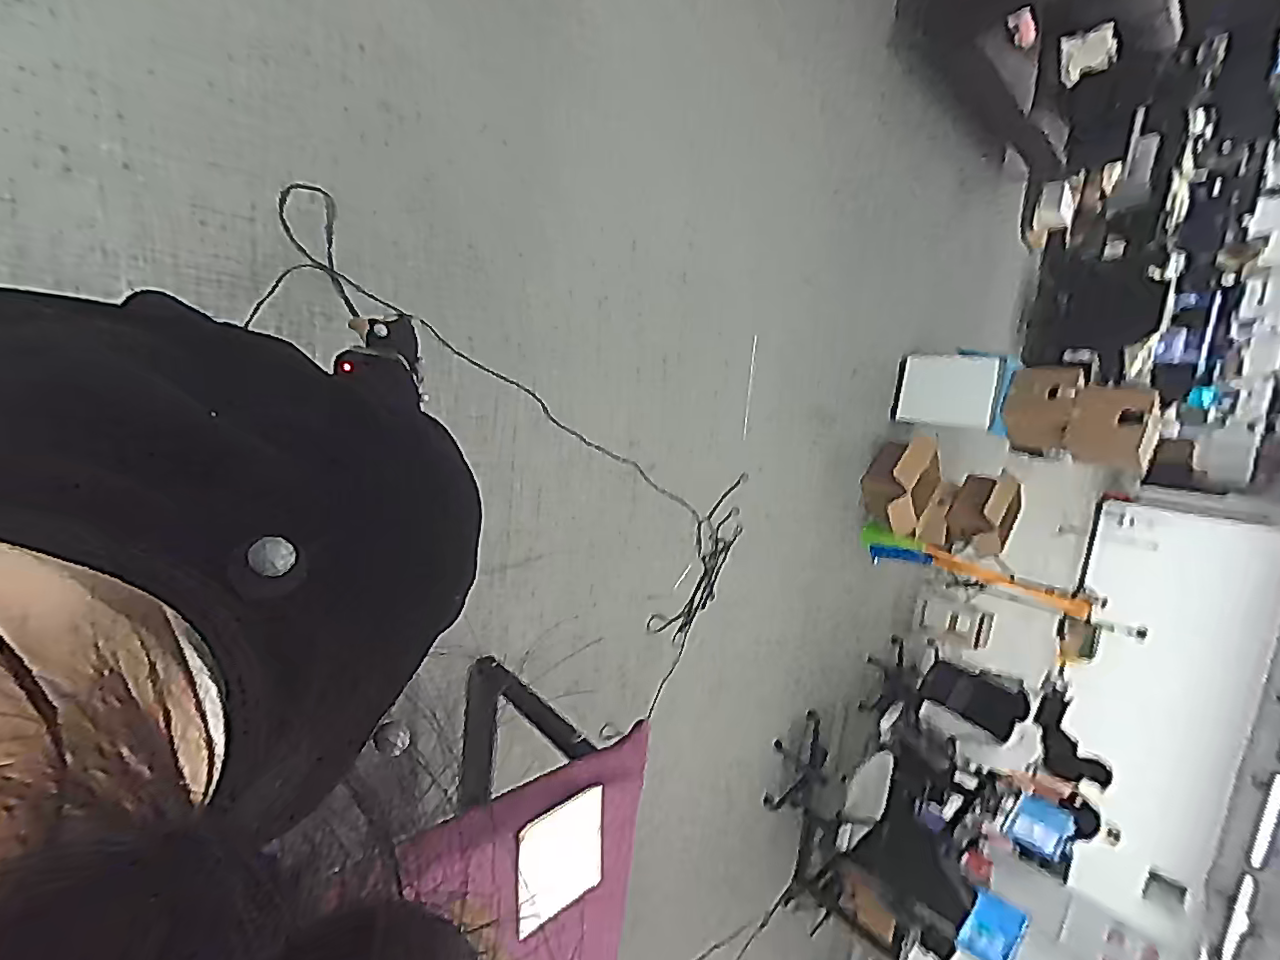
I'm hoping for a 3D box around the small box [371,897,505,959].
[{"bbox_3d":[-0.347,0.858,0.912,0.168,0.176,0.179,0,100,-42],"label":"small box"}]
